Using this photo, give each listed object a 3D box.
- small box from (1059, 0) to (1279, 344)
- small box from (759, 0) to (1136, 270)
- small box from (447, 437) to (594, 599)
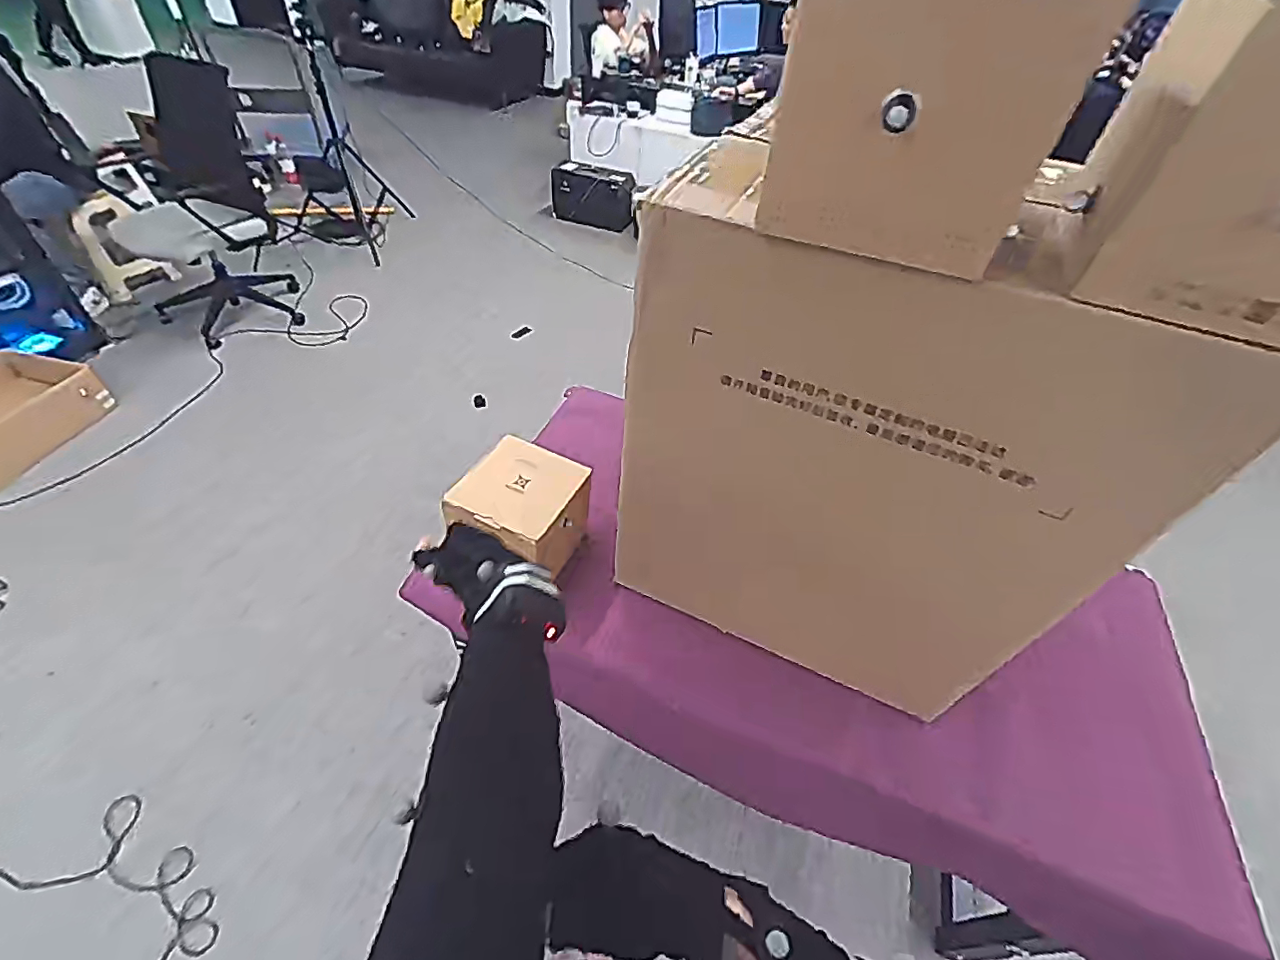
[{"bbox_3d":[0.424,-0.214,0.365,0.168,0.176,0.179,22,50,14],"label":"small box"},{"bbox_3d":[0.208,-0.281,0.410,0.179,0.176,0.168,18,49,13],"label":"small box"},{"bbox_3d":[-0.191,0.065,0.899,0.168,0.176,0.179,23,45,11],"label":"small box"}]
